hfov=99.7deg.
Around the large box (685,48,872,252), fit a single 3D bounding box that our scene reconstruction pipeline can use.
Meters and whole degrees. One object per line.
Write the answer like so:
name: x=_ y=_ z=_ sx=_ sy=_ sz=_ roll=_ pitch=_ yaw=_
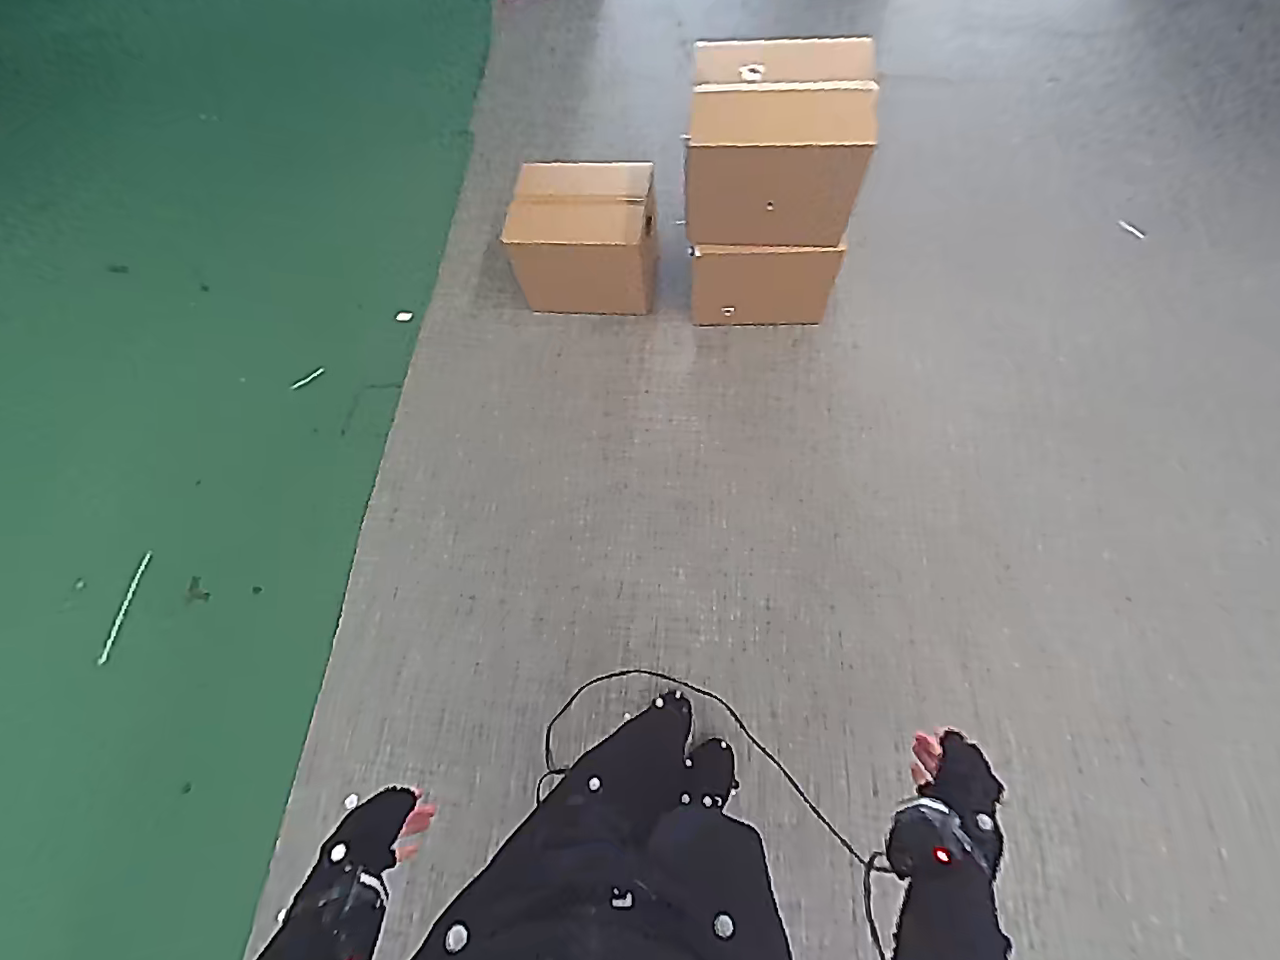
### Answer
large box: x=0.326 y=-0.801 z=1.352 sx=0.408 sy=0.320 sz=0.320 roll=3 pitch=72 yaw=8
